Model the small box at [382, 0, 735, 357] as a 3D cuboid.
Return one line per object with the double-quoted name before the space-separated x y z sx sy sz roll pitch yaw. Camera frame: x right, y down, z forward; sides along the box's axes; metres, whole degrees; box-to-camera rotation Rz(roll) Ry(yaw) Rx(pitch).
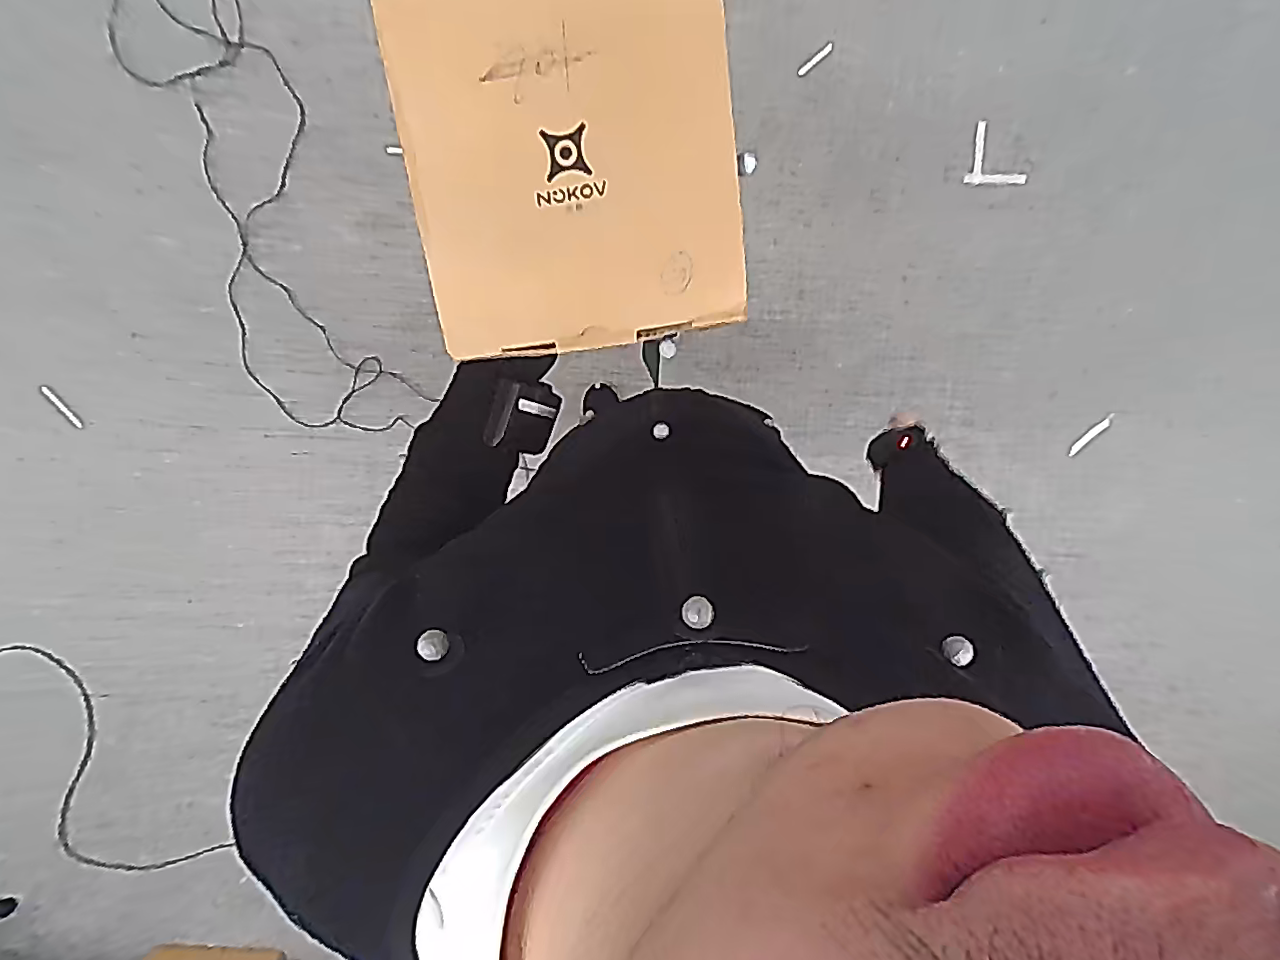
"small box" -0.032 -0.182 0.358 0.168 0.176 0.179 -7 103 5
